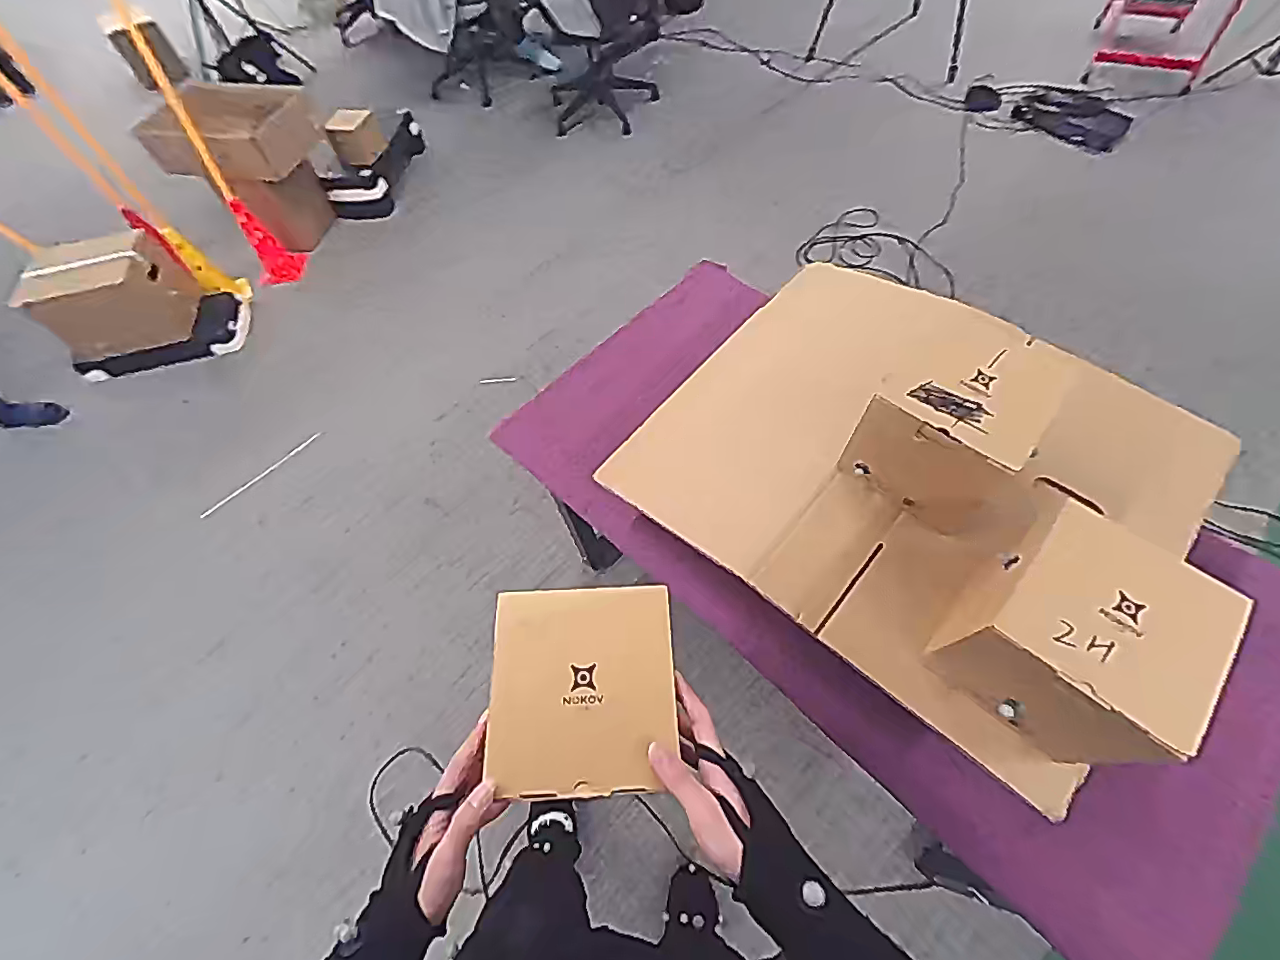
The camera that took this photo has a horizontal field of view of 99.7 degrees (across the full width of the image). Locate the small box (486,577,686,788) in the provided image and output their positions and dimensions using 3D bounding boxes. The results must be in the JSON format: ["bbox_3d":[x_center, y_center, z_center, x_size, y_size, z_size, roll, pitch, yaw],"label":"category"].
[{"bbox_3d":[-0.048,0.209,0.547,0.168,0.176,0.179,-2,62,-2],"label":"small box"}]

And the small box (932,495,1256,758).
[{"bbox_3d":[0.438,0.154,0.553,0.168,0.176,0.179,37,70,21],"label":"small box"}]

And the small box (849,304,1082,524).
[{"bbox_3d":[0.386,-0.075,0.678,0.168,0.176,0.179,37,69,20],"label":"small box"}]
